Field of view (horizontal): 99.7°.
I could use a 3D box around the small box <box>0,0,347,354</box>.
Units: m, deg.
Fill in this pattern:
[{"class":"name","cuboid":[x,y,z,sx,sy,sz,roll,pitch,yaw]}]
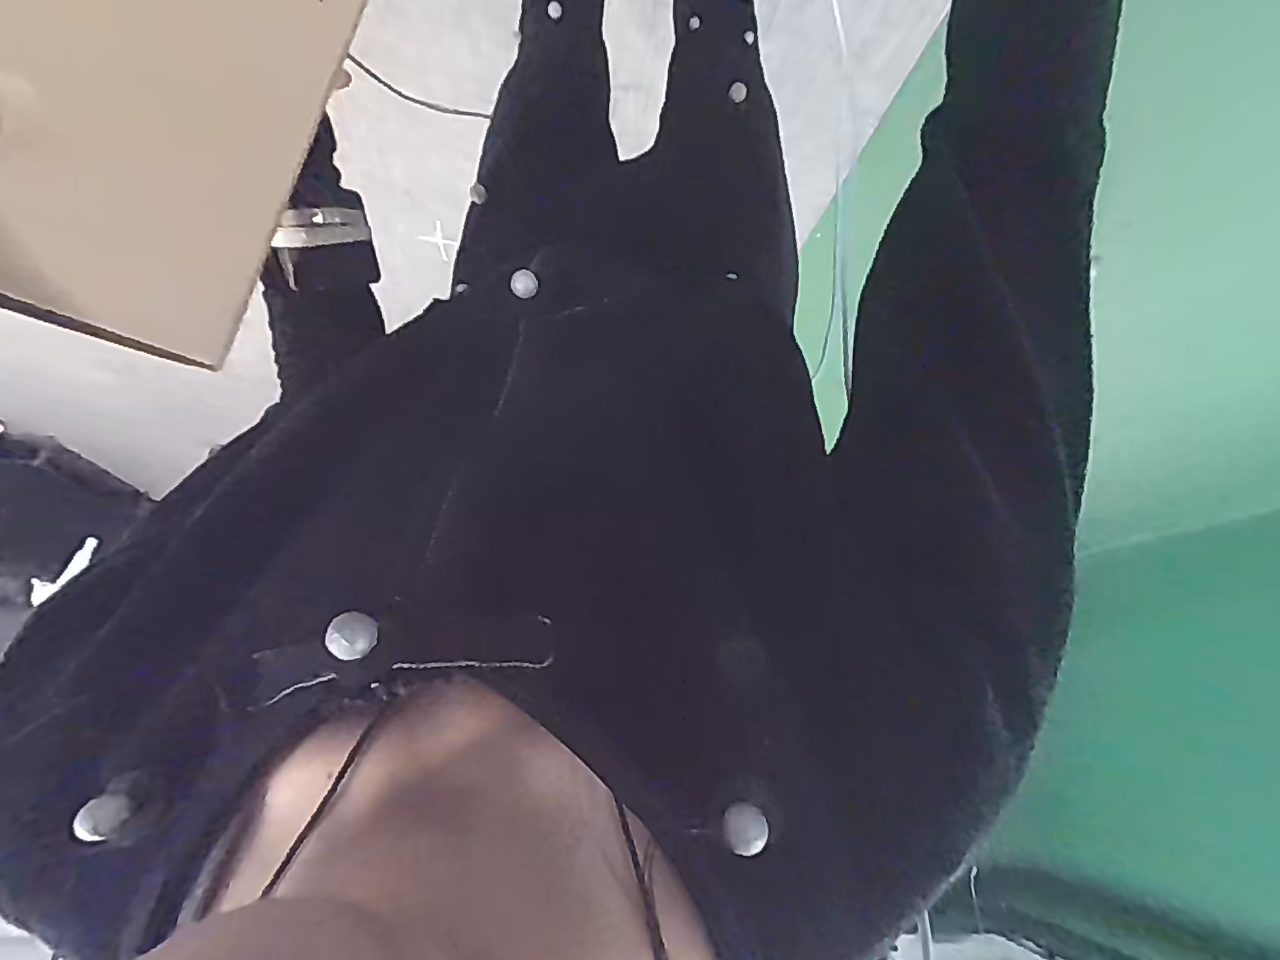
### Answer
[{"class":"small box","cuboid":[-0.227,-0.160,0.173,0.168,0.176,0.179,16,174,39]}]
